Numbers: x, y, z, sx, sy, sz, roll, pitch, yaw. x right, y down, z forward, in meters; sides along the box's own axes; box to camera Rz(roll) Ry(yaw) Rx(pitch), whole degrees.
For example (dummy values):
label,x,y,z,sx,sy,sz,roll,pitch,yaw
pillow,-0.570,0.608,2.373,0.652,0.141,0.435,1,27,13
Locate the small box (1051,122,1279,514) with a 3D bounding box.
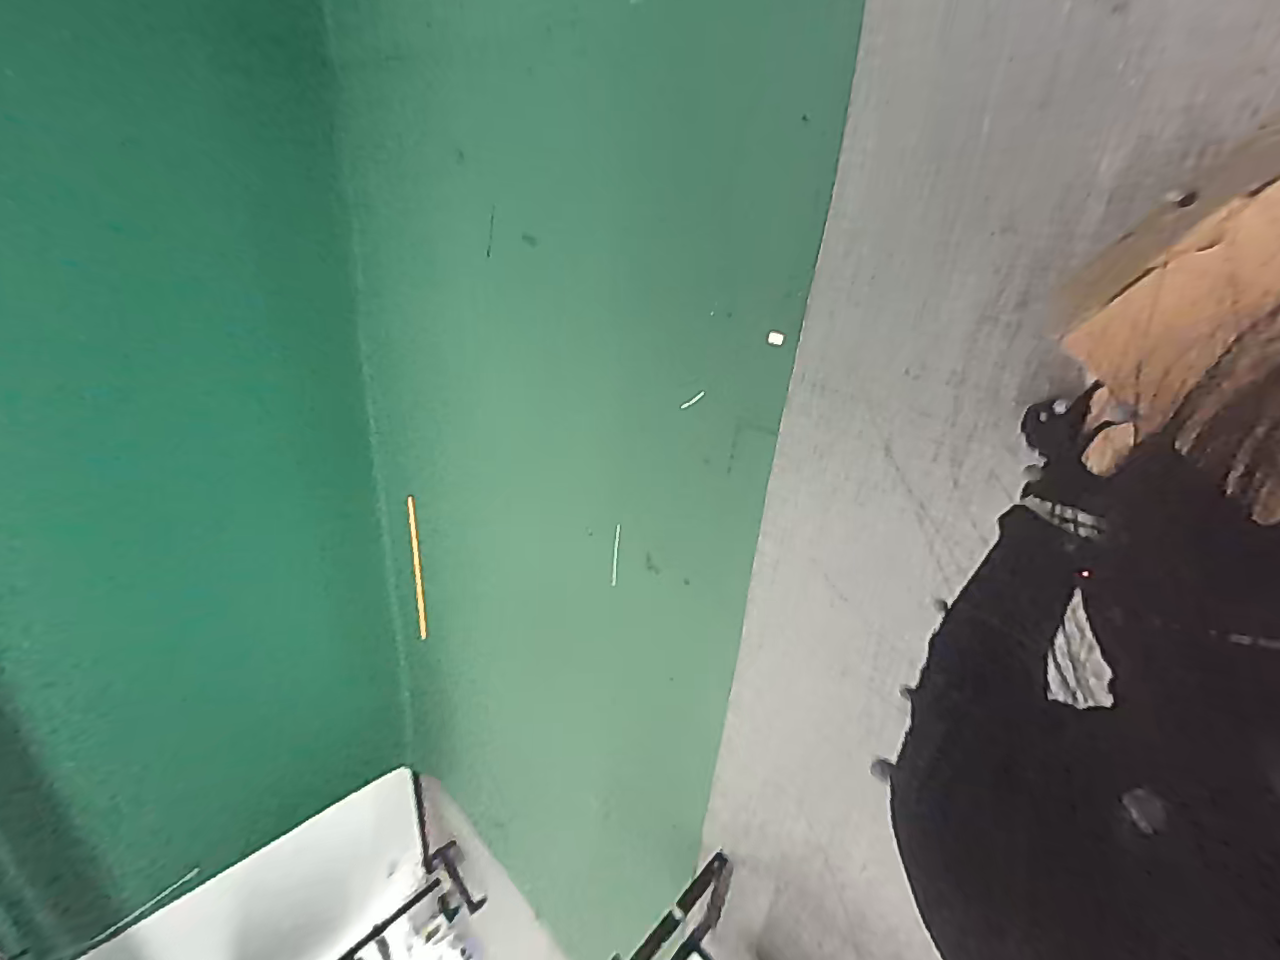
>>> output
label,x,y,z,sx,sy,sz,roll,pitch,yaw
small box,0.421,-0.116,0.360,0.179,0.176,0.168,44,134,7
